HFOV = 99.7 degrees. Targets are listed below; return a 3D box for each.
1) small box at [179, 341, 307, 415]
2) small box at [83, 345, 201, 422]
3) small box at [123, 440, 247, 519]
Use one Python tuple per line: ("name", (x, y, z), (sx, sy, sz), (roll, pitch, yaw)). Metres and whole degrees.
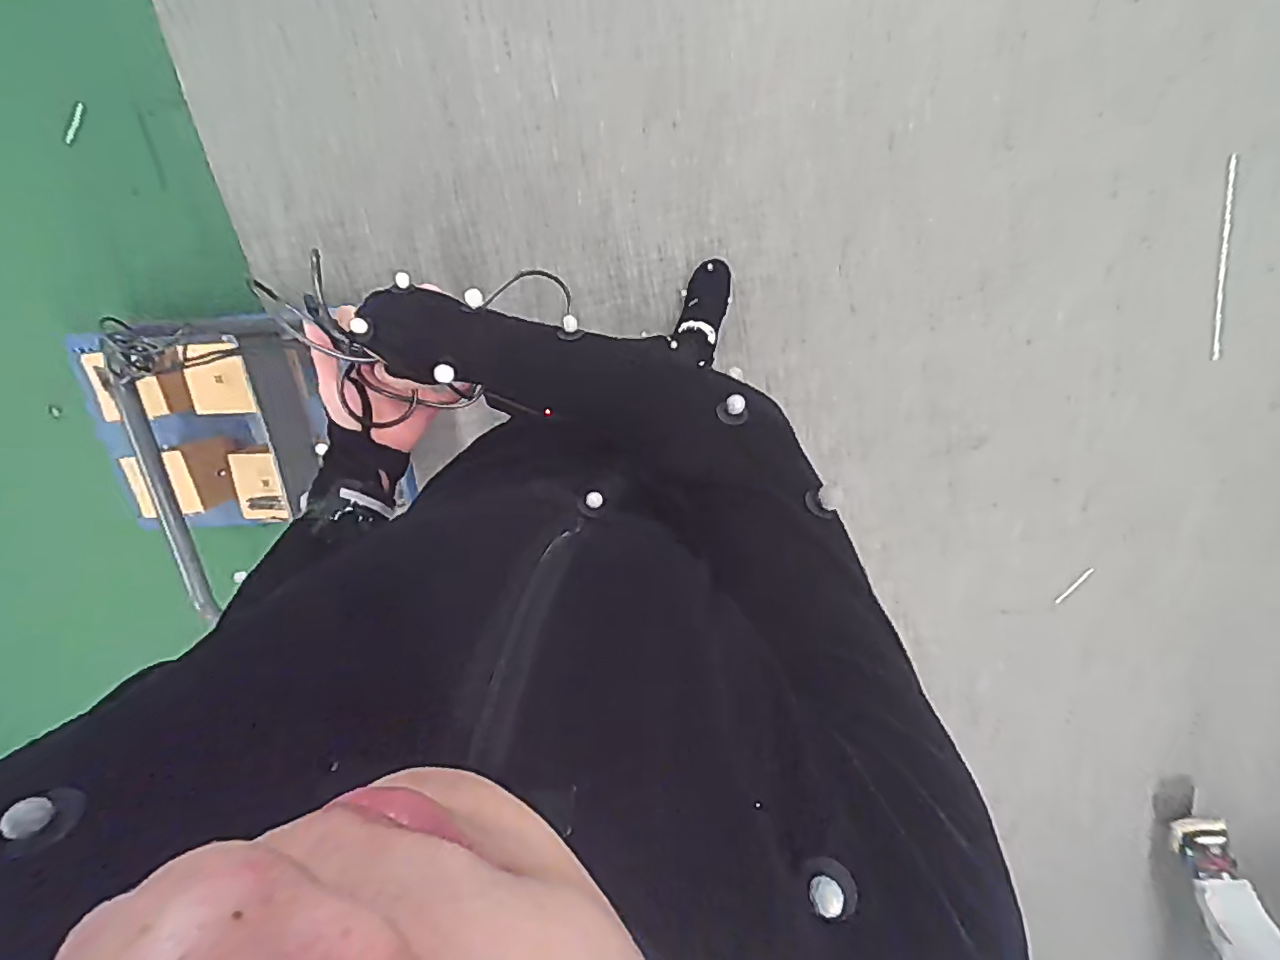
("small box", (-0.988, -0.259, 1.361), (0.179, 0.176, 0.168), (-2, 107, 5))
("small box", (-1.233, -0.250, 1.382), (0.179, 0.176, 0.168), (-6, 108, 5))
("small box", (-1.210, -0.006, 1.458), (0.179, 0.176, 0.168), (-7, 106, 7))
